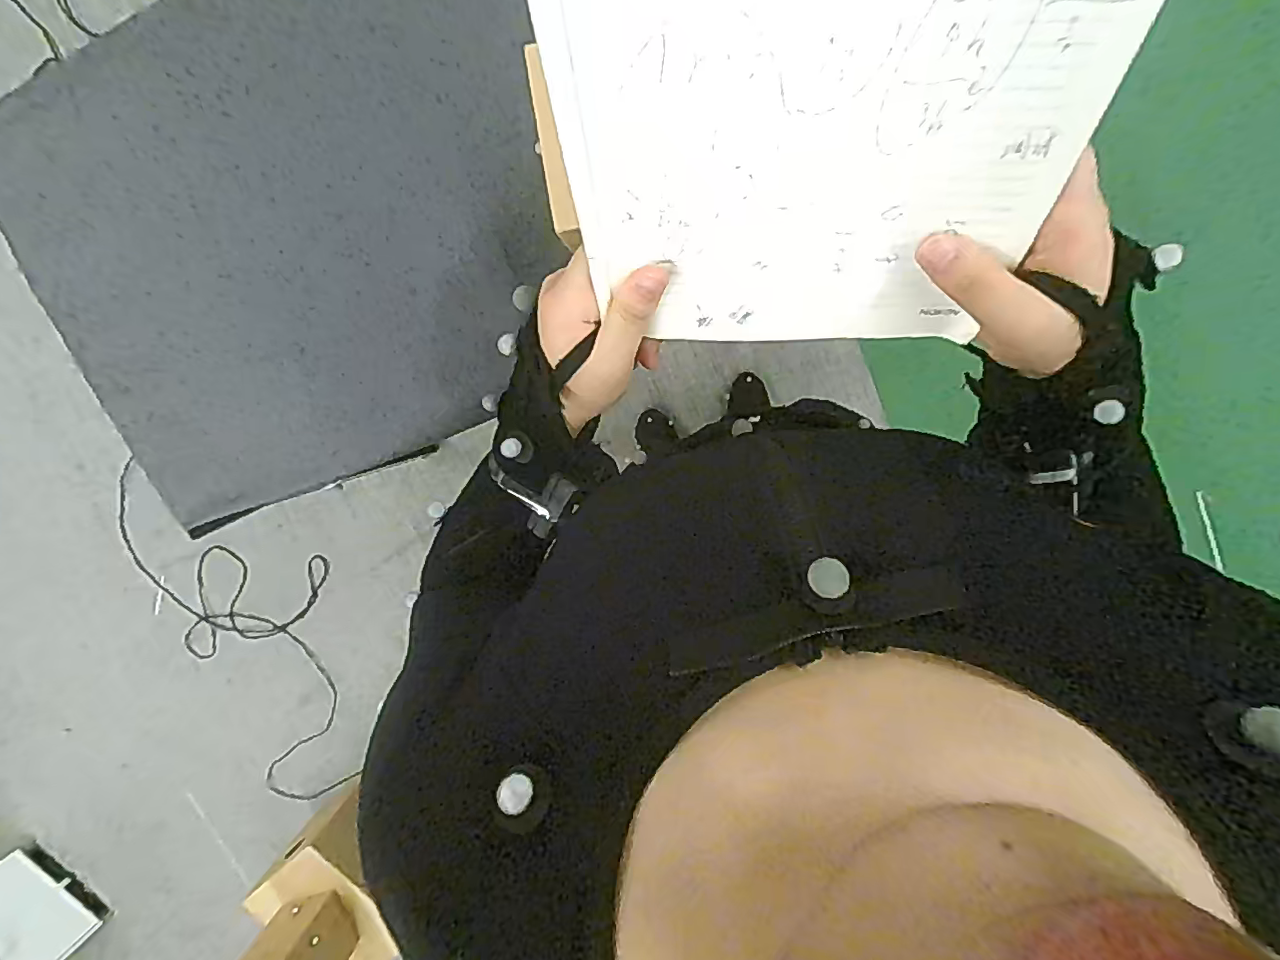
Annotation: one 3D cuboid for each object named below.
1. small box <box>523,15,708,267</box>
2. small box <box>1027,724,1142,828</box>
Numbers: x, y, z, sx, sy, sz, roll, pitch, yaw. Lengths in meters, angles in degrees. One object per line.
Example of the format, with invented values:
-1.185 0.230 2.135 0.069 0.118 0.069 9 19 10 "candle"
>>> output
-0.018 -0.361 0.613 0.168 0.176 0.179 -8 99 7 "small box"
1.152 0.770 1.418 0.179 0.176 0.168 -12 100 8 "small box"
